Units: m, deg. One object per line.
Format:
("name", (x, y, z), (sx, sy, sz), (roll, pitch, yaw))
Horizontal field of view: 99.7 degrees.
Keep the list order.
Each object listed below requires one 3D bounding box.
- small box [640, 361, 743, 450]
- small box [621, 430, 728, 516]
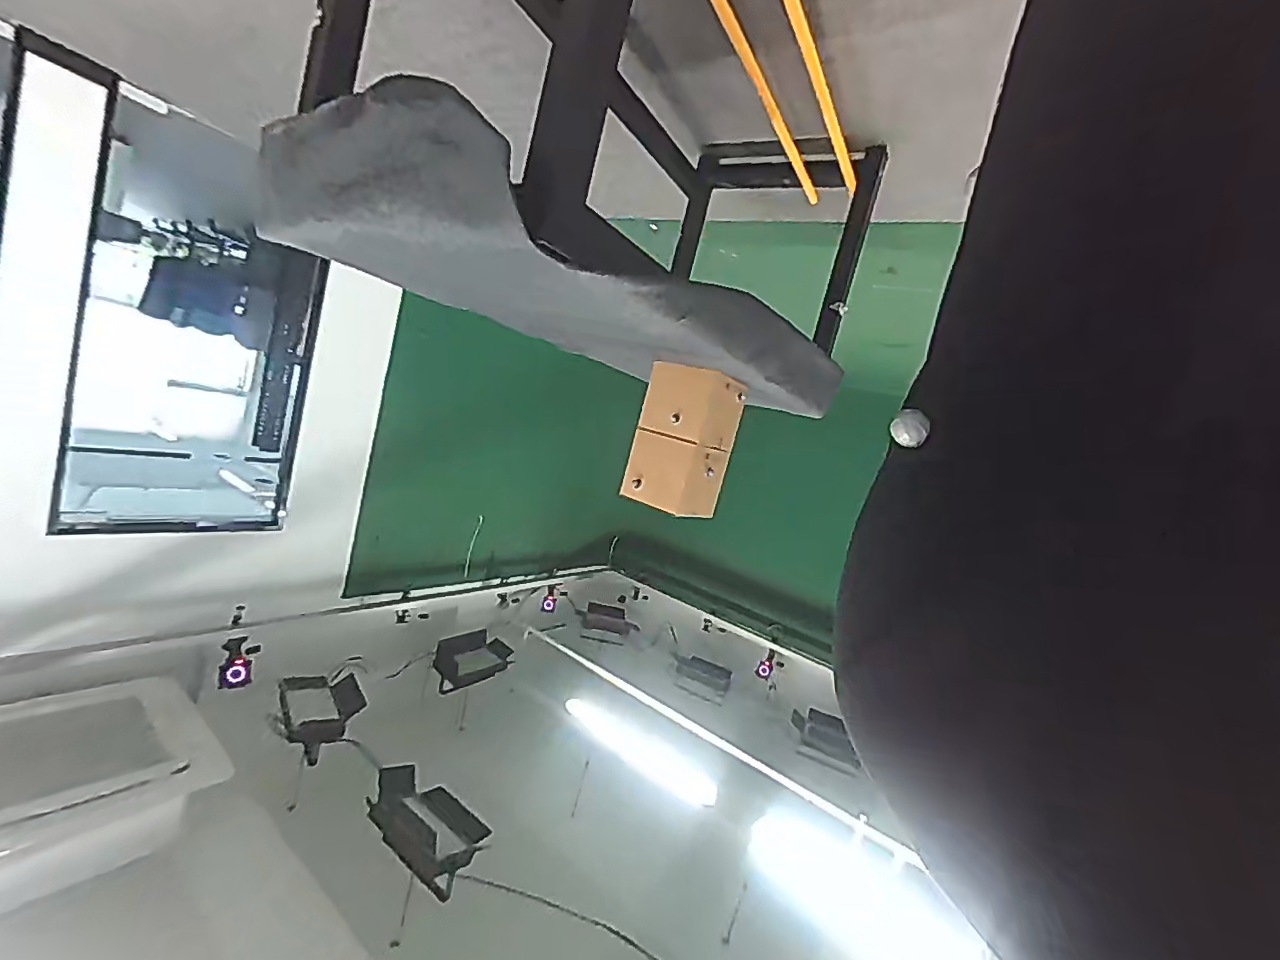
("small box", (0.130, -0.179, 1.289), (0.179, 0.176, 0.168), (20, -173, 35))
("small box", (0.086, -0.021, 1.307), (0.179, 0.176, 0.168), (19, -172, 37))
